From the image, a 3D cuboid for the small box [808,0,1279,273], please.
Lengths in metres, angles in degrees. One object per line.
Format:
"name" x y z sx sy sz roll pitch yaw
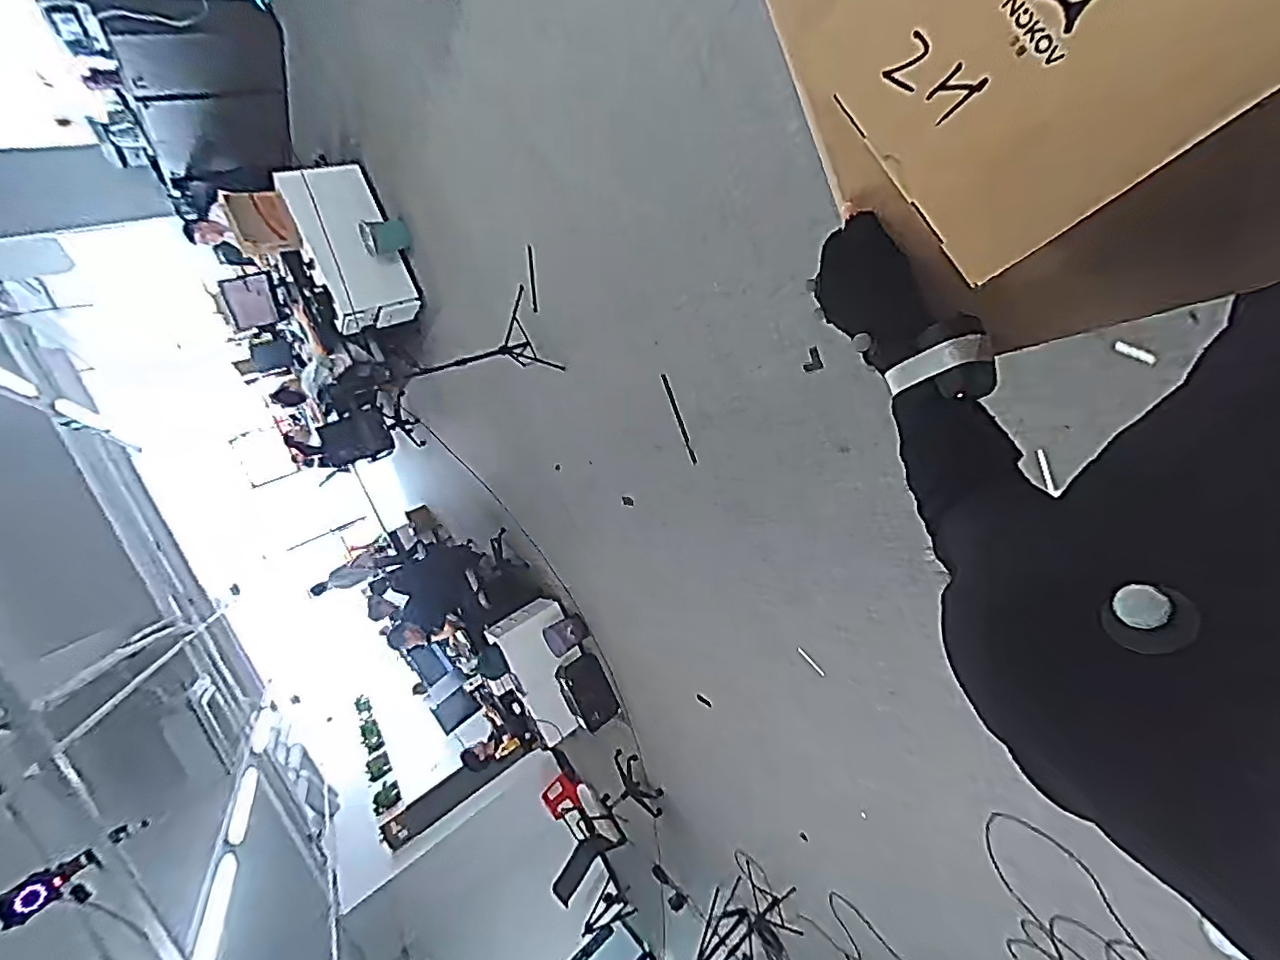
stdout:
"small box" 0.231 -0.244 0.279 0.168 0.176 0.179 56 142 2
